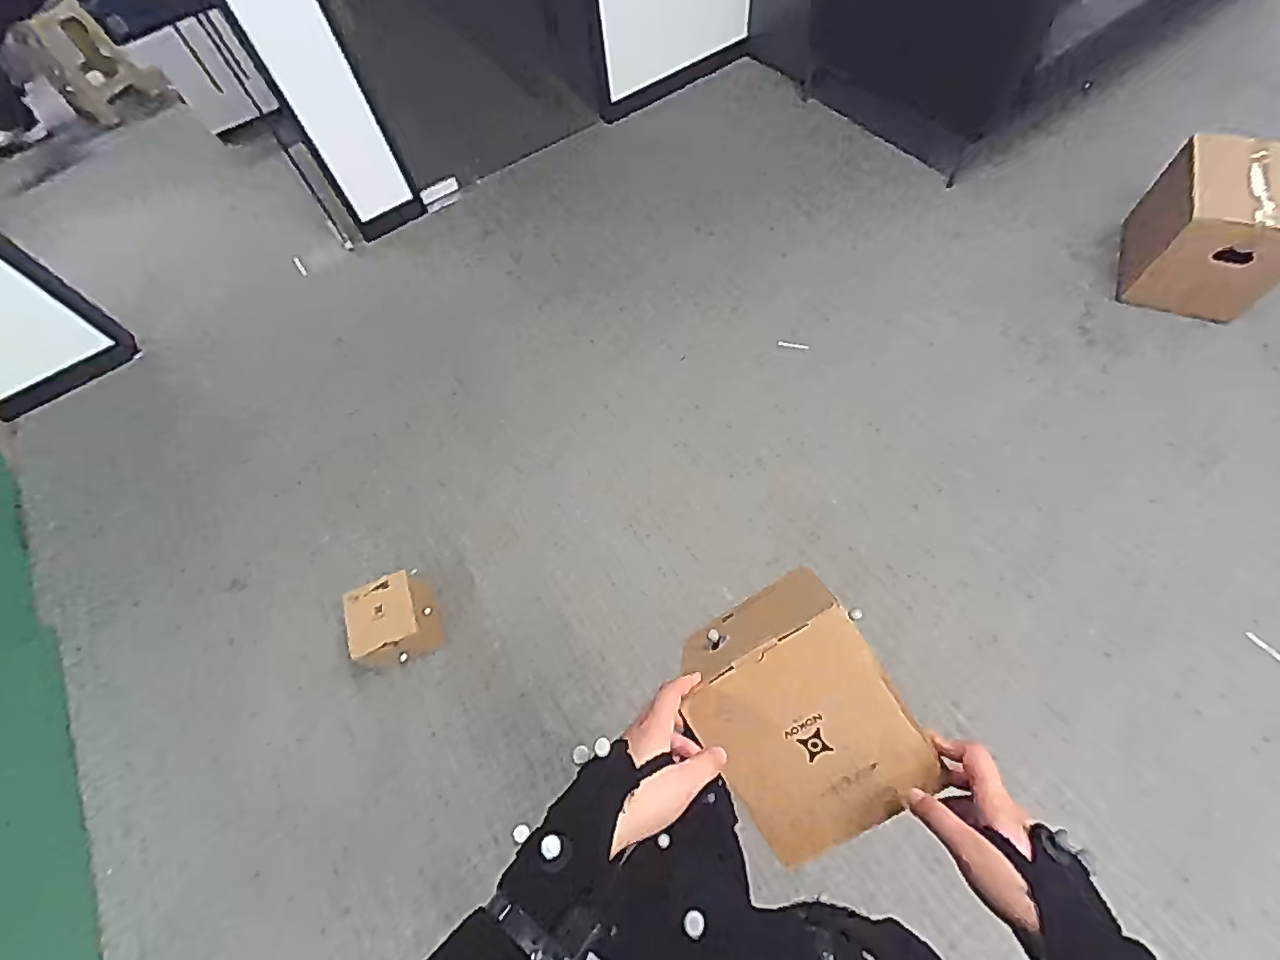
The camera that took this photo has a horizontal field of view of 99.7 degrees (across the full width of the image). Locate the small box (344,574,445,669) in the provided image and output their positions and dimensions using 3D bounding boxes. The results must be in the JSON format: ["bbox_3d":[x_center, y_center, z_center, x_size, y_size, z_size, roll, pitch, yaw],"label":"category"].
[{"bbox_3d":[-0.618,0.368,1.377,0.168,0.176,0.179,-22,63,-6],"label":"small box"}]

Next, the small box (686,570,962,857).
[{"bbox_3d":[0.161,0.205,0.535,0.168,0.176,0.179,-35,88,8],"label":"small box"}]
